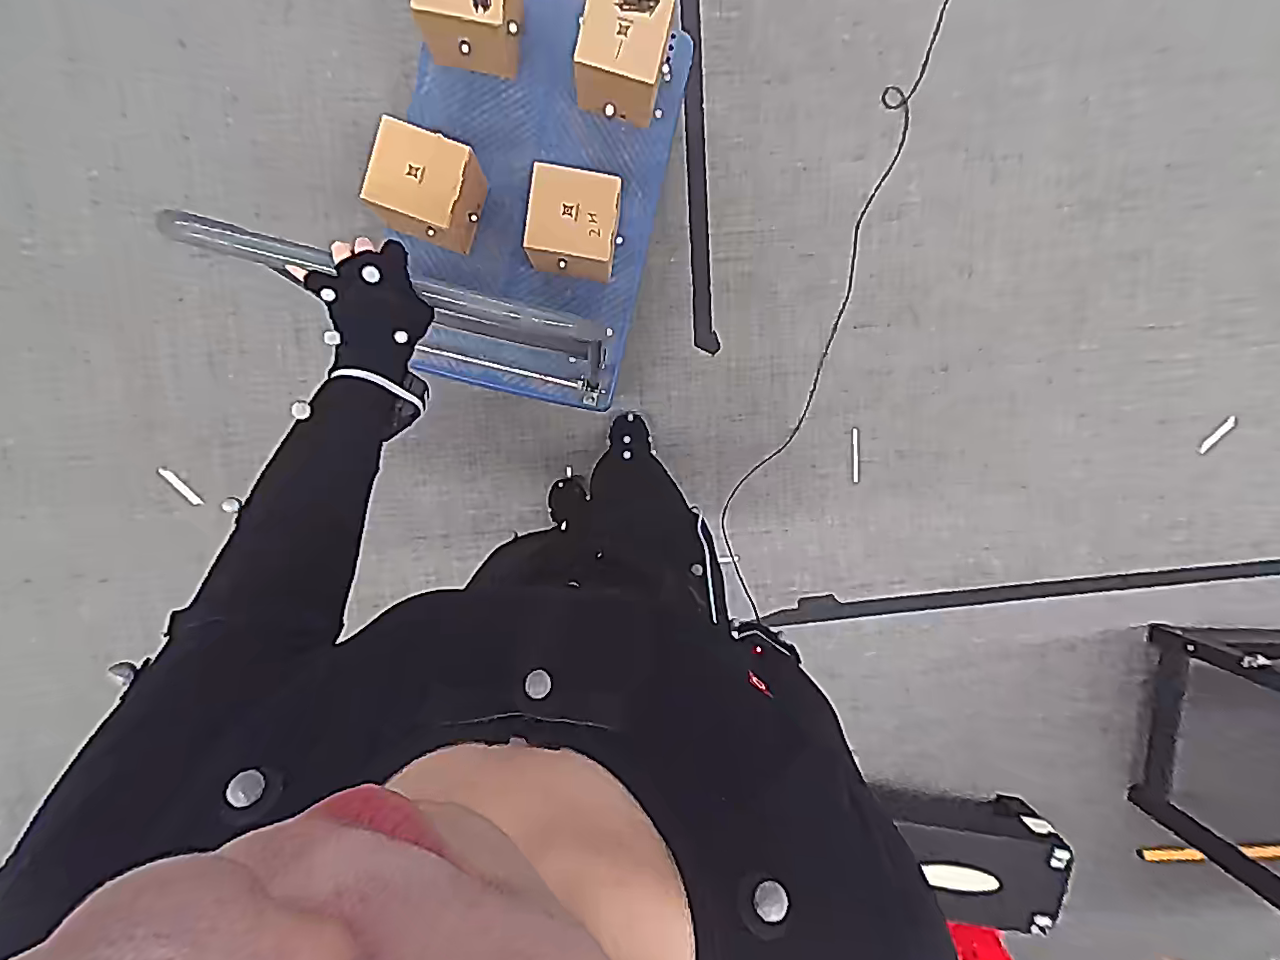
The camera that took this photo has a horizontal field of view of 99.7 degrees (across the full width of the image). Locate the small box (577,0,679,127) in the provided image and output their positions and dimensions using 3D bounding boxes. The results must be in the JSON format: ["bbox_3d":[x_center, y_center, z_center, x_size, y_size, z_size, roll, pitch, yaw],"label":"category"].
[{"bbox_3d":[-0.029,-0.885,1.121,0.168,0.176,0.179,14,96,-4],"label":"small box"}]

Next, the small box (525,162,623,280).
[{"bbox_3d":[-0.135,-0.540,1.151,0.179,0.176,0.168,9,96,-4],"label":"small box"}]

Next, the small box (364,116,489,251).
[{"bbox_3d":[-0.436,-0.605,1.128,0.179,0.176,0.168,18,94,-7],"label":"small box"}]
